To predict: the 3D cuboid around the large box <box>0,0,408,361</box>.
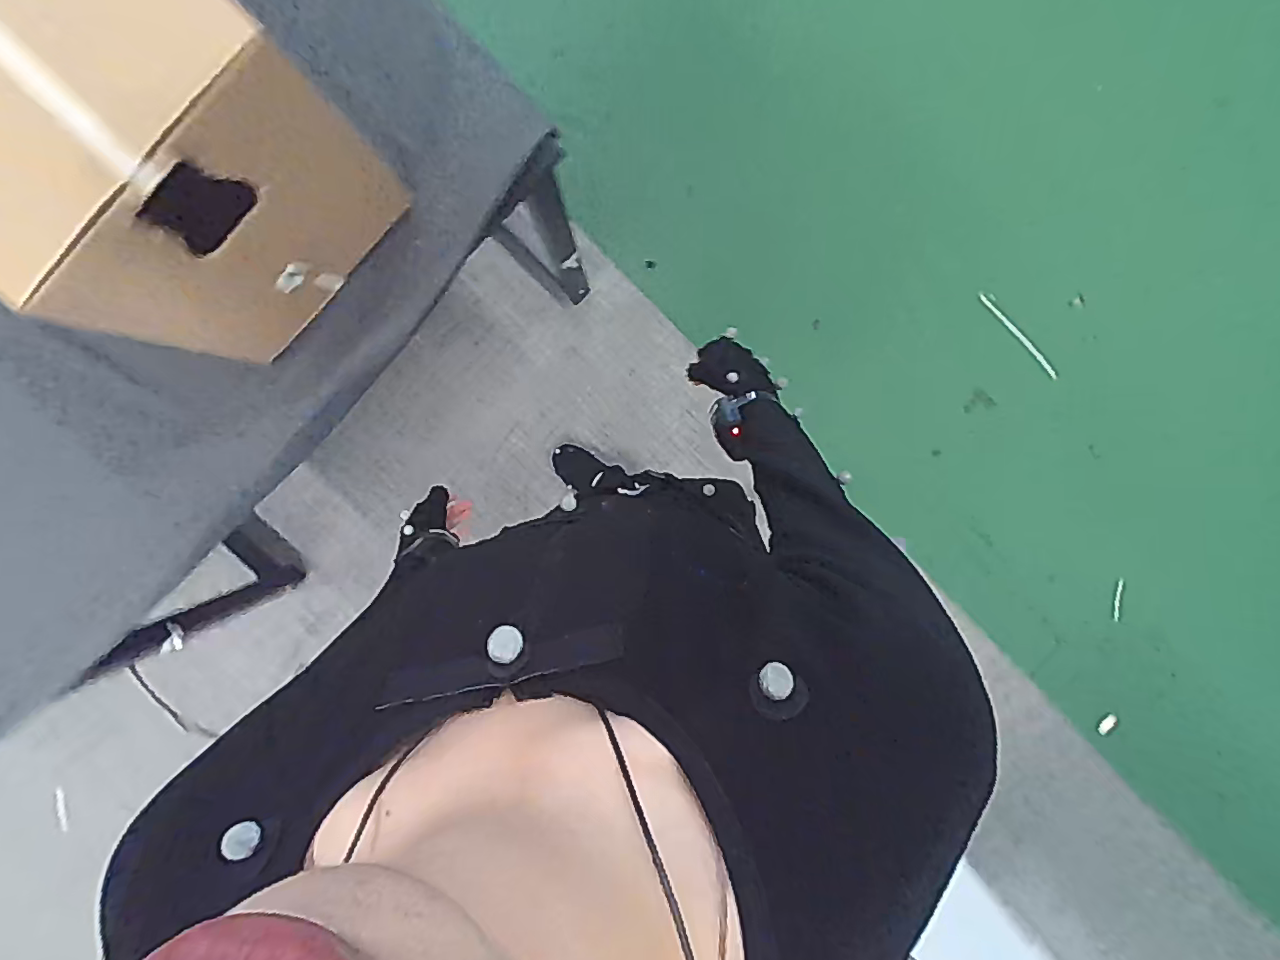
[{"bbox_3d":[-0.557,-0.392,0.590,0.408,0.320,0.320,43,93,-2],"label":"large box"}]
